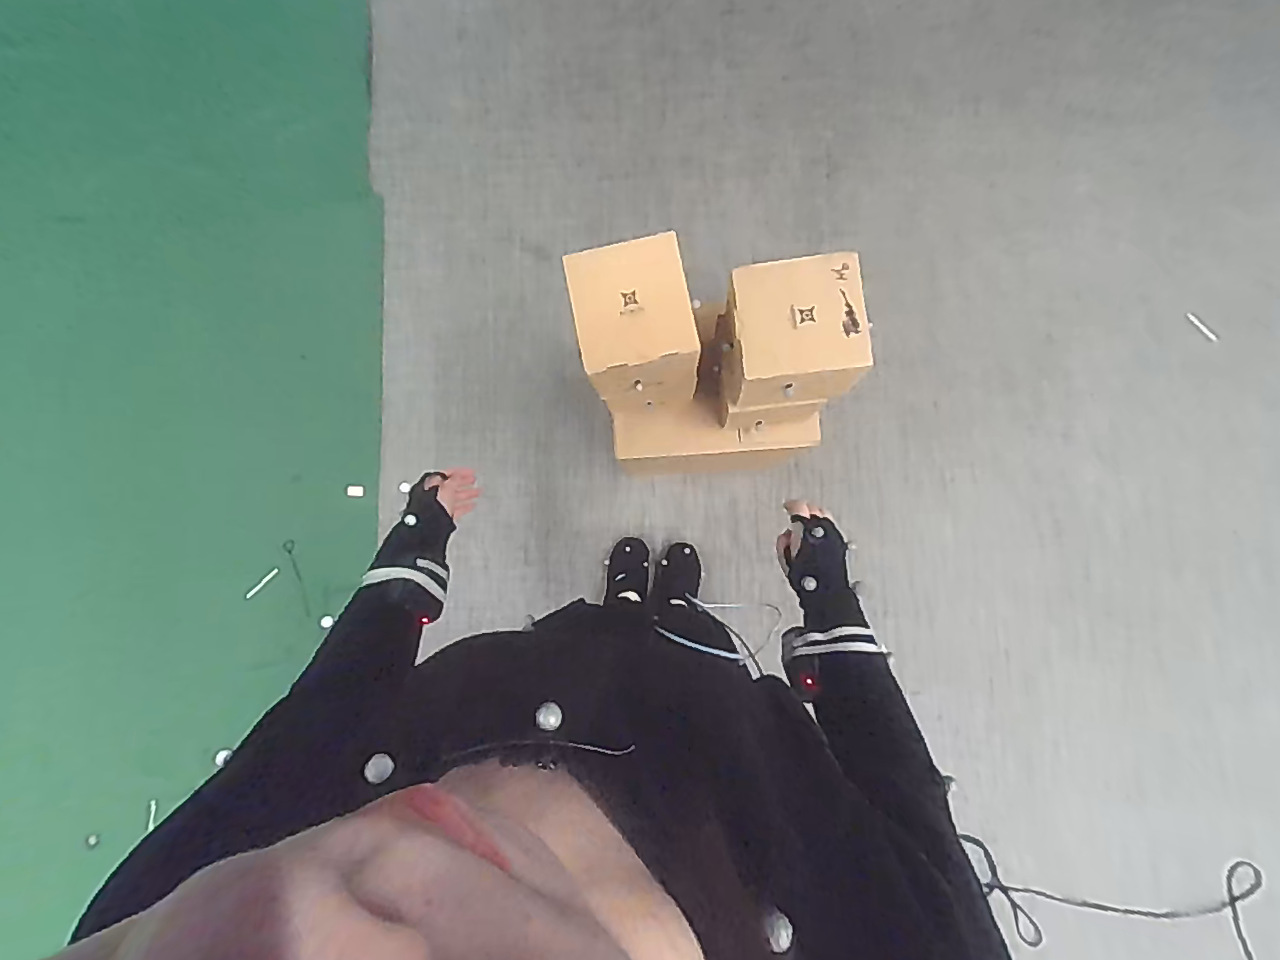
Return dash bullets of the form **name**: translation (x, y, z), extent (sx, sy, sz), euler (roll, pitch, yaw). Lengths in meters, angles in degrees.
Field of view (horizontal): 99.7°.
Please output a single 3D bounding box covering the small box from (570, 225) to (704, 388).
- **small box**: translation (-0.003, -0.257, 0.839), extent (0.168, 0.176, 0.179), euler (-12, 87, 2)
